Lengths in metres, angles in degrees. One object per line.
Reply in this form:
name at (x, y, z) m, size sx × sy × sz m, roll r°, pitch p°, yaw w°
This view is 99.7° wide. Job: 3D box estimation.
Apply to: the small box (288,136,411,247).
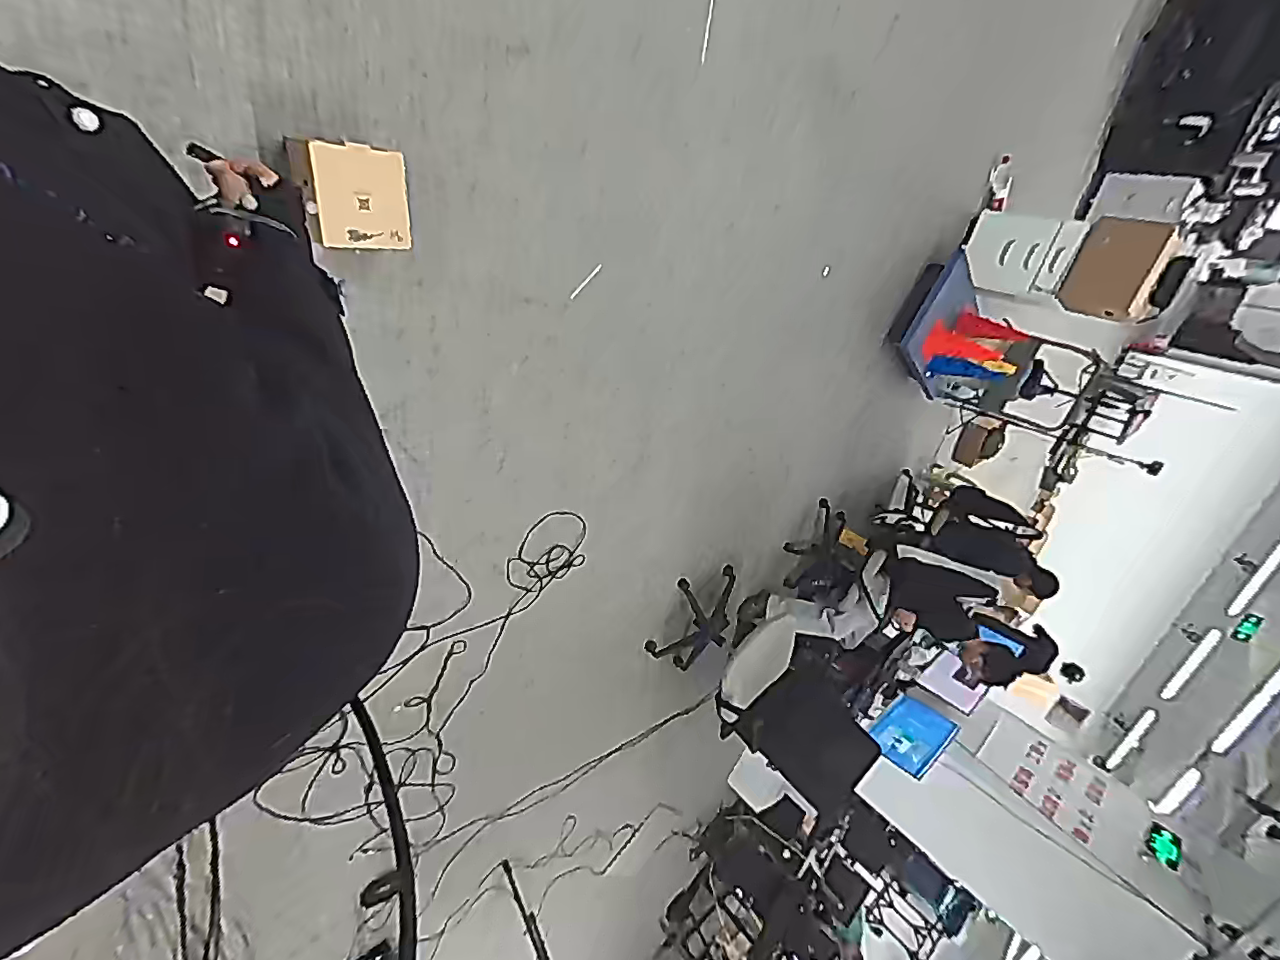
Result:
small box at (-0.575, -0.569, 1.072) m, size 0.168 × 0.176 × 0.179 m, roll -18°, pitch 126°, yaw -38°
